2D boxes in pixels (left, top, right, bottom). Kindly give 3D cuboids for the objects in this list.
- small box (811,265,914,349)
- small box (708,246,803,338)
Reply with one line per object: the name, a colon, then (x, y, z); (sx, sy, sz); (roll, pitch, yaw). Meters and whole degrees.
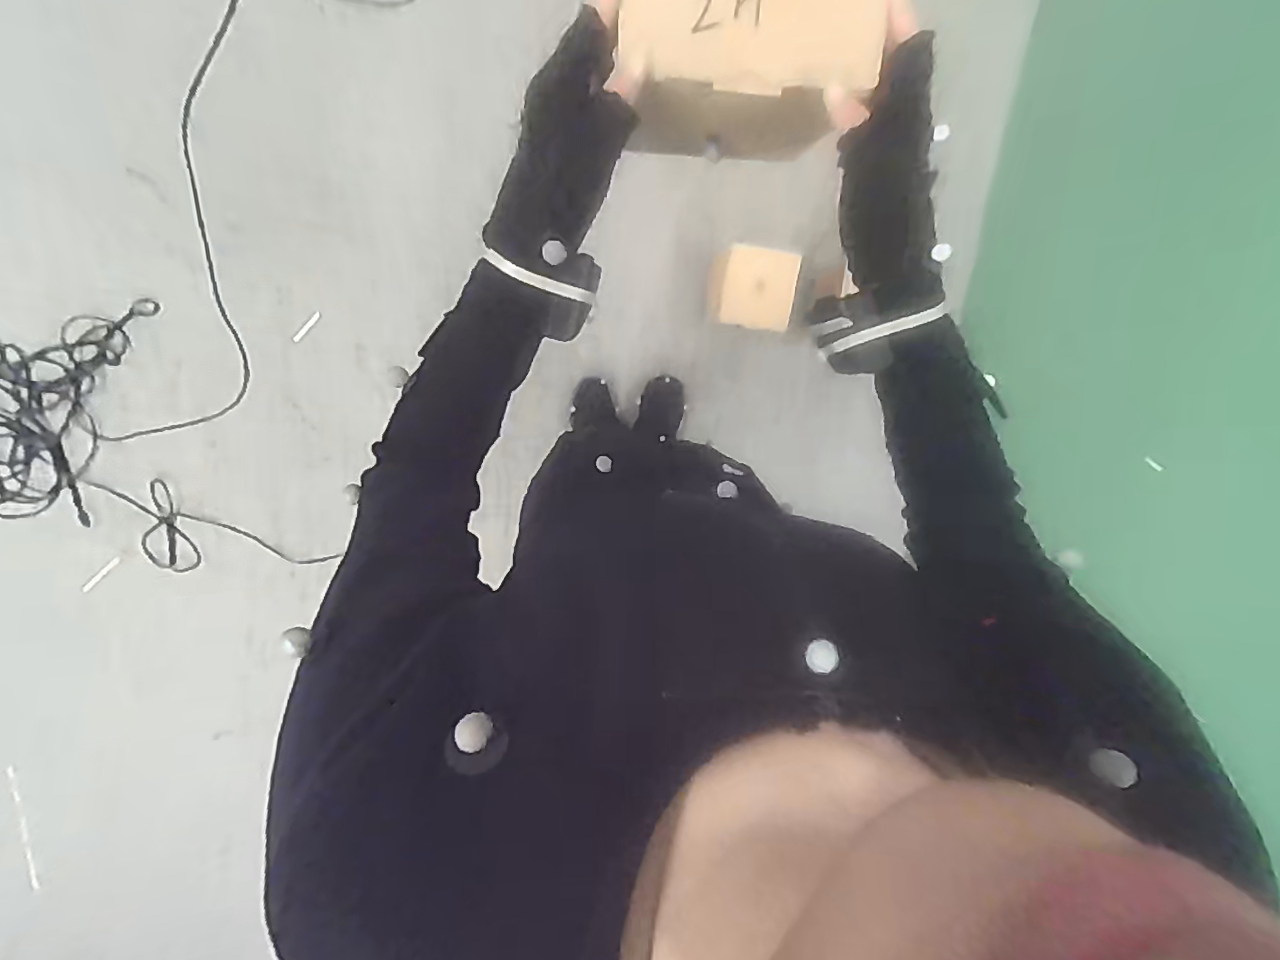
small box: (0.534, -0.417, 1.324); (0.168, 0.176, 0.179); (4, 103, -5)
small box: (0.268, -0.443, 1.299); (0.168, 0.176, 0.179); (7, 103, -6)
